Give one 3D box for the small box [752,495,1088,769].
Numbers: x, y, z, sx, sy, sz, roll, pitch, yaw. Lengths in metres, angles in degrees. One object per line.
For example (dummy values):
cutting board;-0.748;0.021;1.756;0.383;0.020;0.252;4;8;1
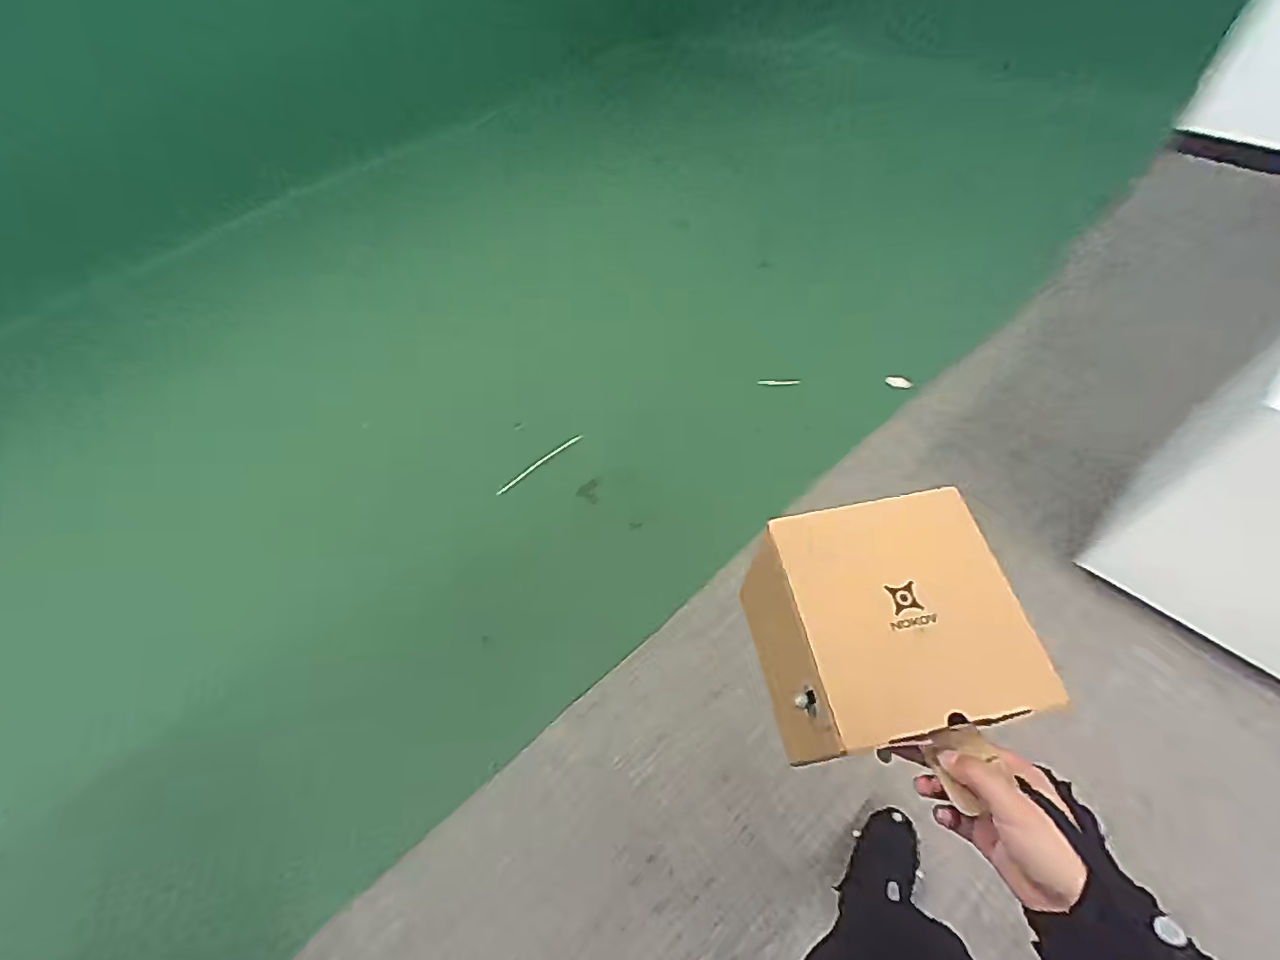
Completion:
small box;0.208;0.137;0.467;0.168;0.176;0.179;-9;61;-5
